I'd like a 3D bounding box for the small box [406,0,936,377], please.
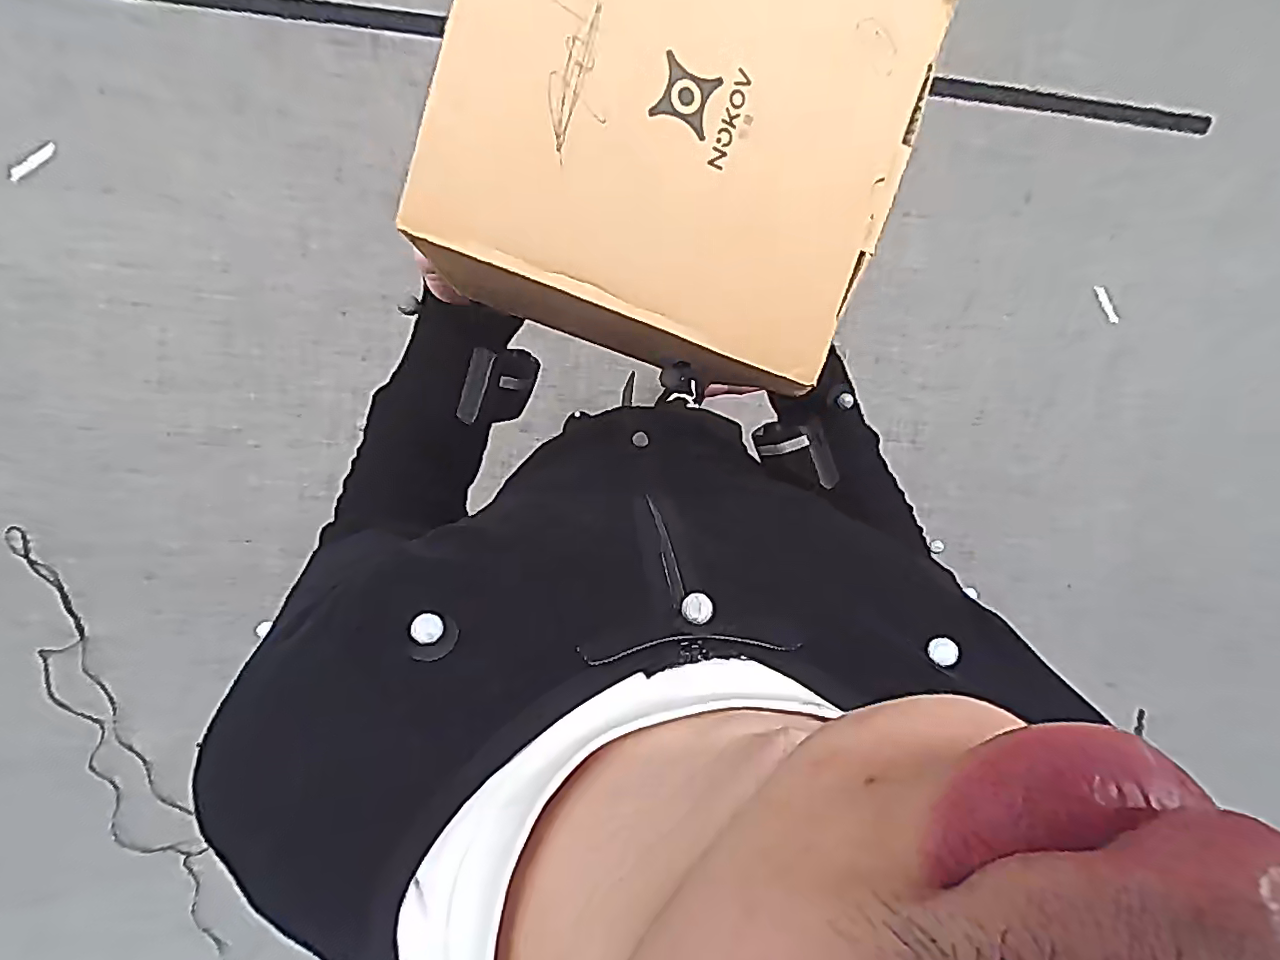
[{"bbox_3d":[0.002,-0.163,0.289,0.179,0.176,0.168,17,97,-13],"label":"small box"}]
